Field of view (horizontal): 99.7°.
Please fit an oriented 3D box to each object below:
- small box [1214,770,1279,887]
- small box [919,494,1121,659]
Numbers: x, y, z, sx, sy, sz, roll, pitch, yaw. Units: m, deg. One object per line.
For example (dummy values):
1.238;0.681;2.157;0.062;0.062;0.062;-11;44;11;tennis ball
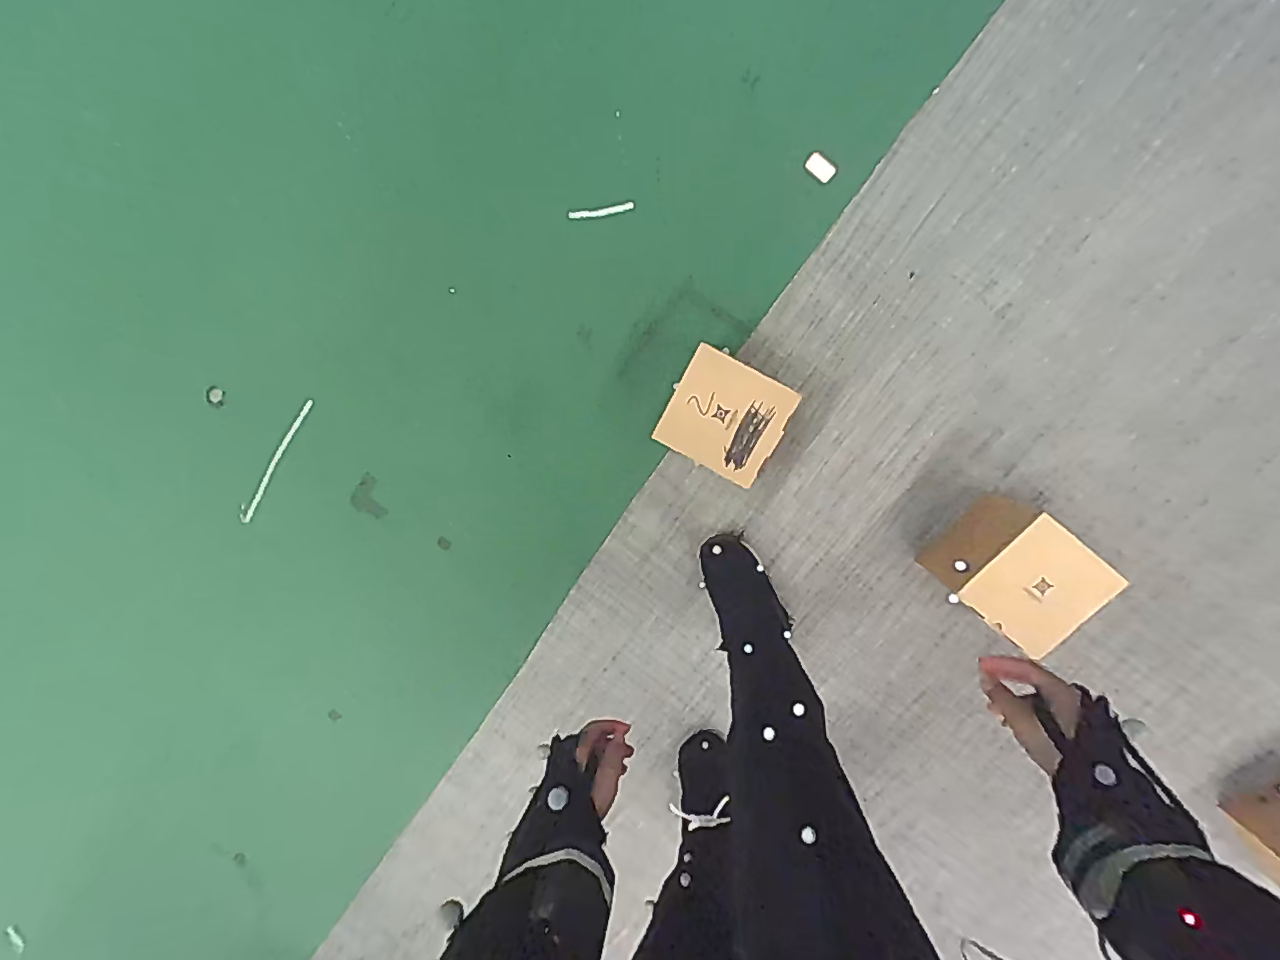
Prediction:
1.142;0.620;0.894;0.168;0.176;0.179;-38;92;11;small box
0.600;0.146;0.884;0.168;0.176;0.179;39;103;0;small box
